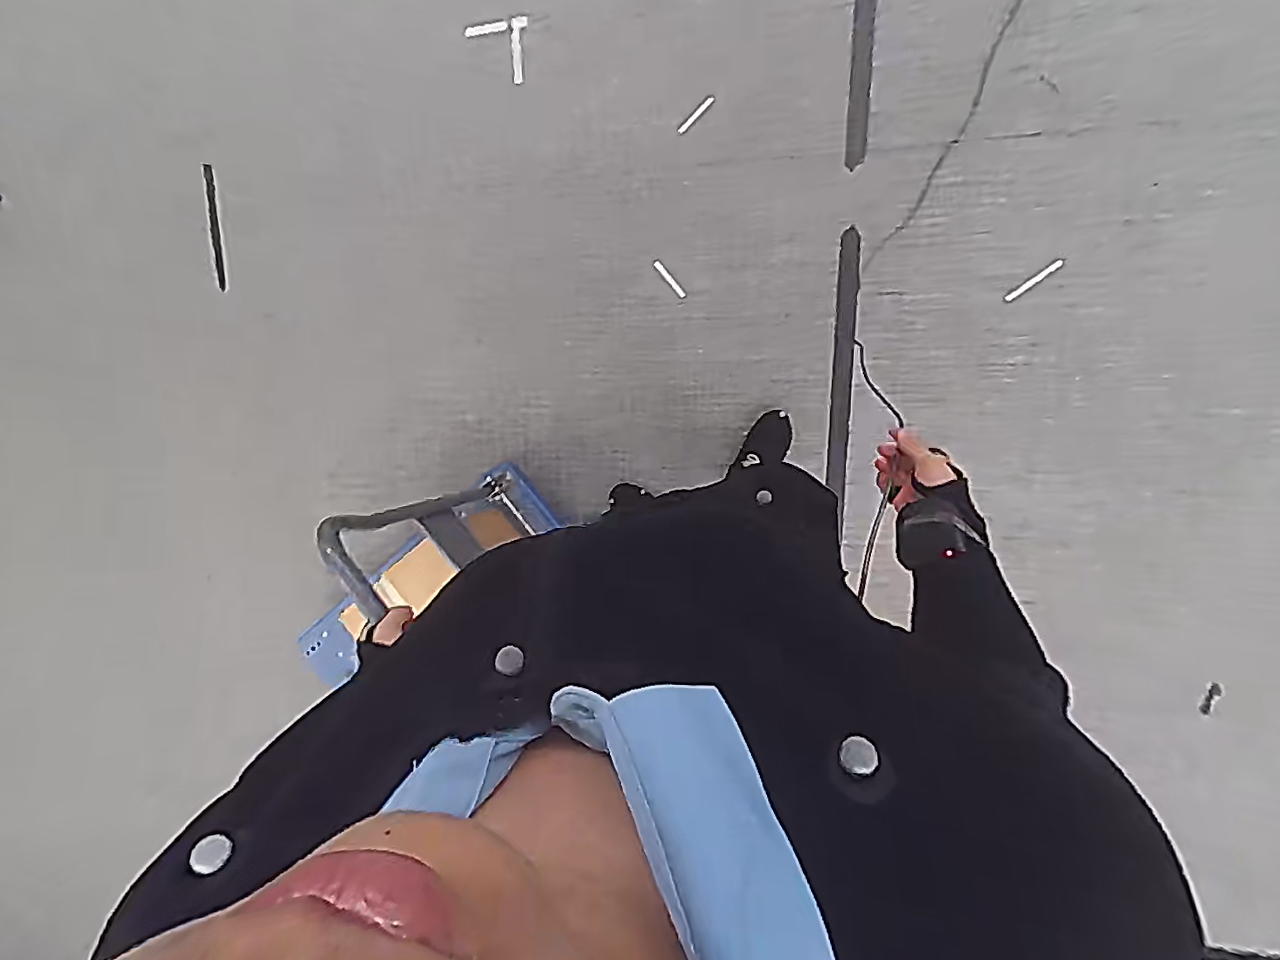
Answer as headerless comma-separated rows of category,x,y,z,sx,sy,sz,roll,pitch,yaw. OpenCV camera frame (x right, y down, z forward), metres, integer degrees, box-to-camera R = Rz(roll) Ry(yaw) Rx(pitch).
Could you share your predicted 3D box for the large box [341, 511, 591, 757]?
large box,-0.386,0.341,1.284,0.320,0.320,0.408,-39,88,12
